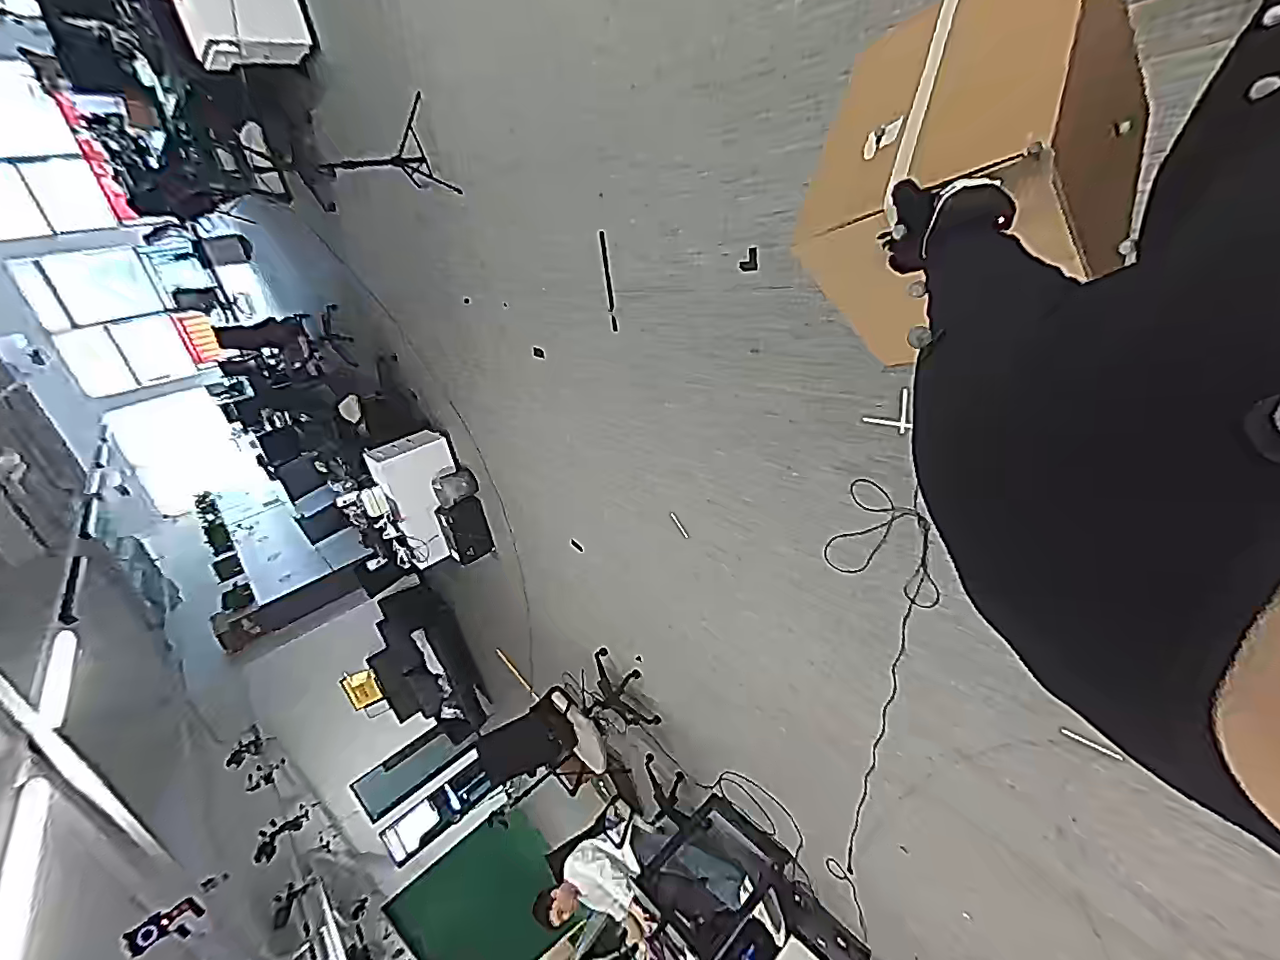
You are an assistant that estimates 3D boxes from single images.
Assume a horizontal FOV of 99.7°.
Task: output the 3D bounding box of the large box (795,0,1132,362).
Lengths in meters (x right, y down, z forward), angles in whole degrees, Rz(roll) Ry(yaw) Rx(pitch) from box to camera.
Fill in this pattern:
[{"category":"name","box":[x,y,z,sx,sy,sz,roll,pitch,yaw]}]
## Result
[{"category":"large box","box":[0.491,-0.445,0.807,0.320,0.408,0.320,32,162,-33]}]
